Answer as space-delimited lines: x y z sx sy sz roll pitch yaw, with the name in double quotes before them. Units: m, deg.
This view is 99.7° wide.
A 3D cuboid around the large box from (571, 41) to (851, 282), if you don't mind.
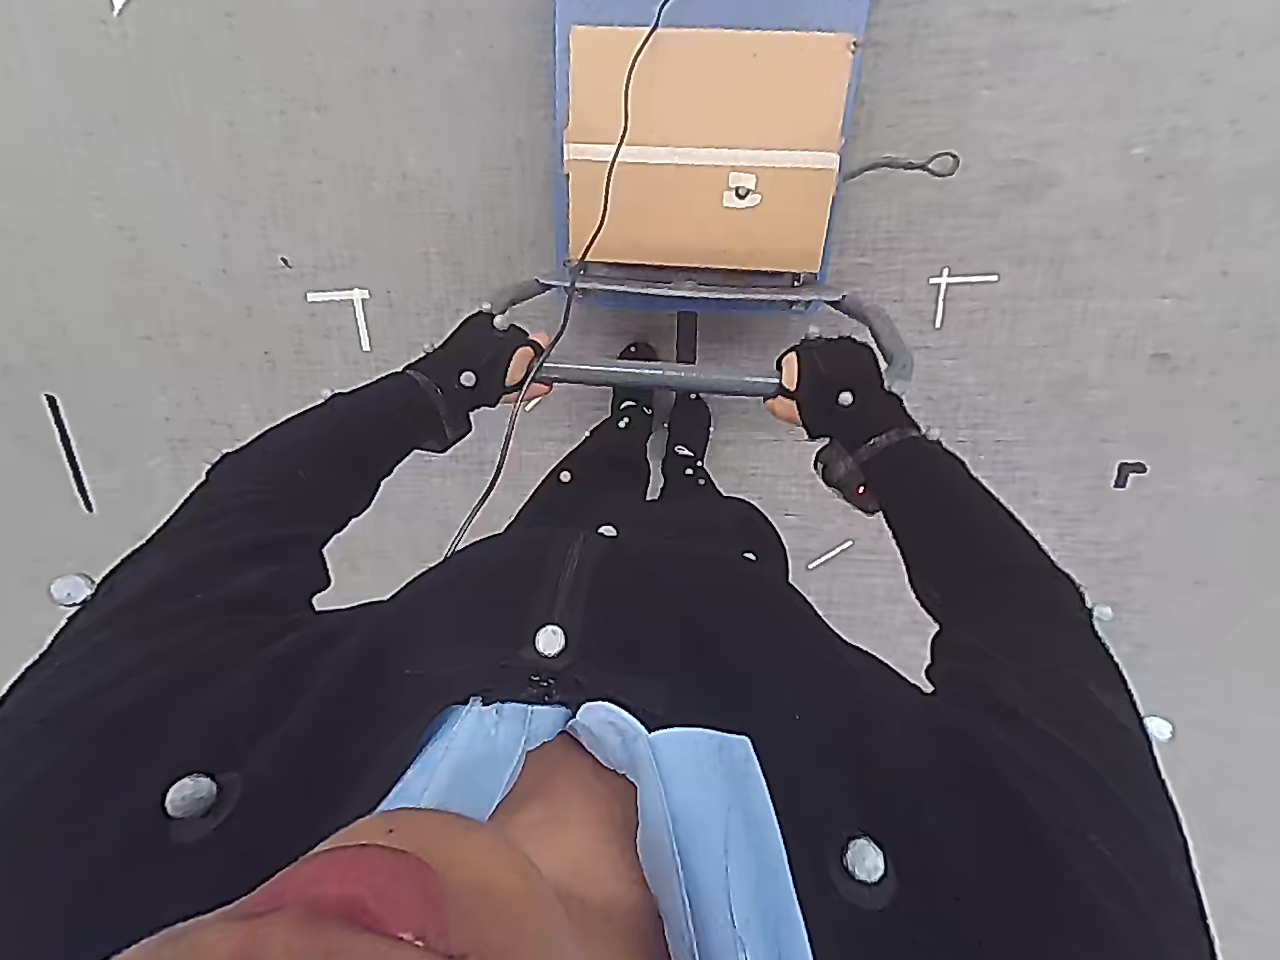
"large box" 0.101 -0.525 0.956 0.408 0.320 0.320 4 113 3
